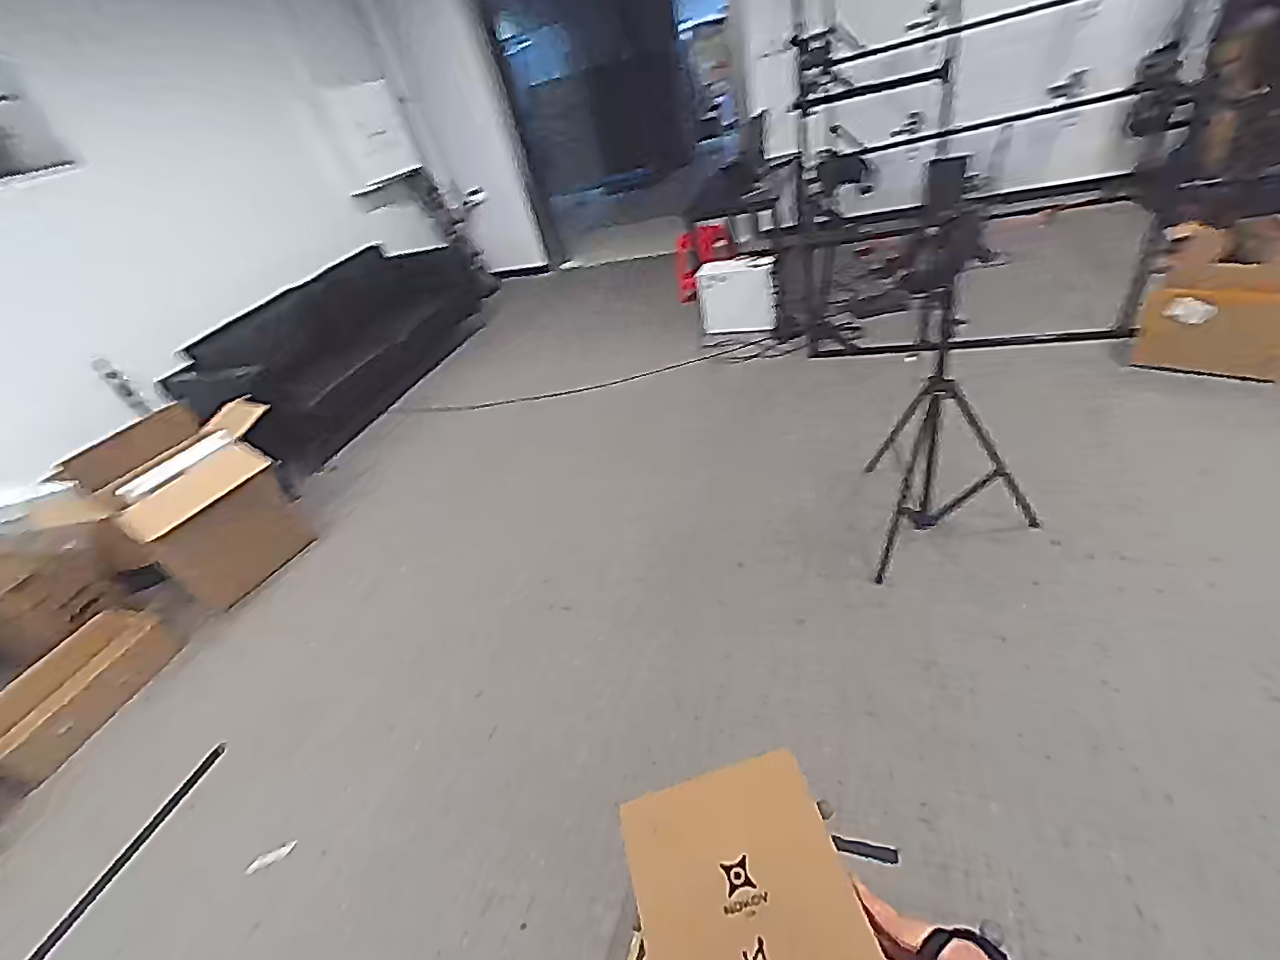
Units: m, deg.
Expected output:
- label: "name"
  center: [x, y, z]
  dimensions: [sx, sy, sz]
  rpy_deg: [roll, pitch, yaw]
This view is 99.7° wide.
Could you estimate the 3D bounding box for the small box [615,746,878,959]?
- label: "small box"
  center: [0.089, 0.376, 0.475]
  dimensions: [0.168, 0.176, 0.179]
  rpy_deg: [-19, 40, -3]
